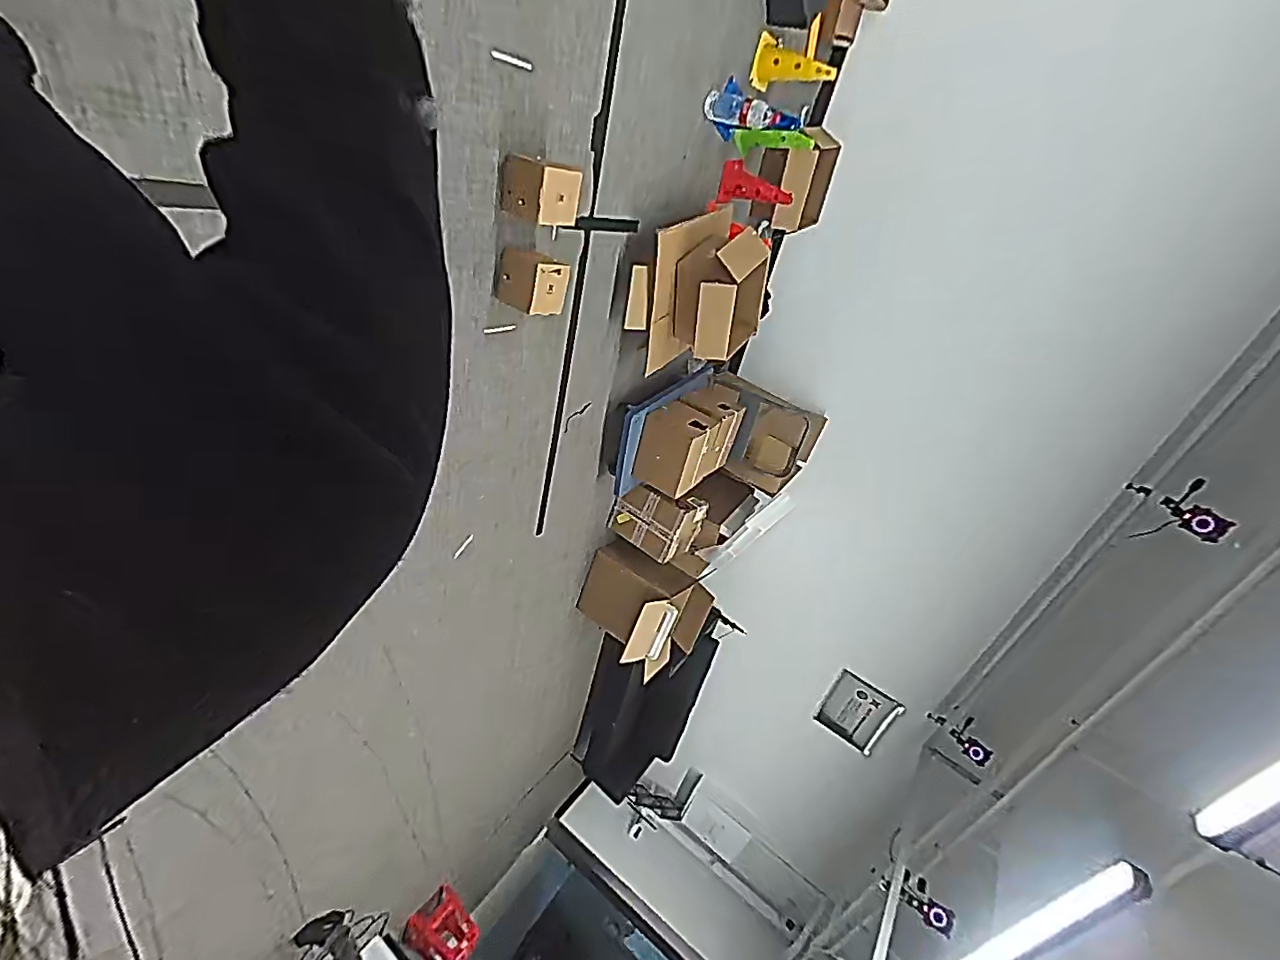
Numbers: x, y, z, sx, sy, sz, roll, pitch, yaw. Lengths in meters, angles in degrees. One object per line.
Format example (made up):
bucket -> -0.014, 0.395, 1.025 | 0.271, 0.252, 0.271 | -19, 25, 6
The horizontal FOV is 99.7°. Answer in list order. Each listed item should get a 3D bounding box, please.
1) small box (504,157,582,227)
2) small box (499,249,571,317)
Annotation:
small box -> -0.317, -0.926, 1.742 | 0.179, 0.176, 0.168 | -33, 146, -49
small box -> -0.376, -0.691, 1.905 | 0.168, 0.176, 0.179 | -26, 141, -52
